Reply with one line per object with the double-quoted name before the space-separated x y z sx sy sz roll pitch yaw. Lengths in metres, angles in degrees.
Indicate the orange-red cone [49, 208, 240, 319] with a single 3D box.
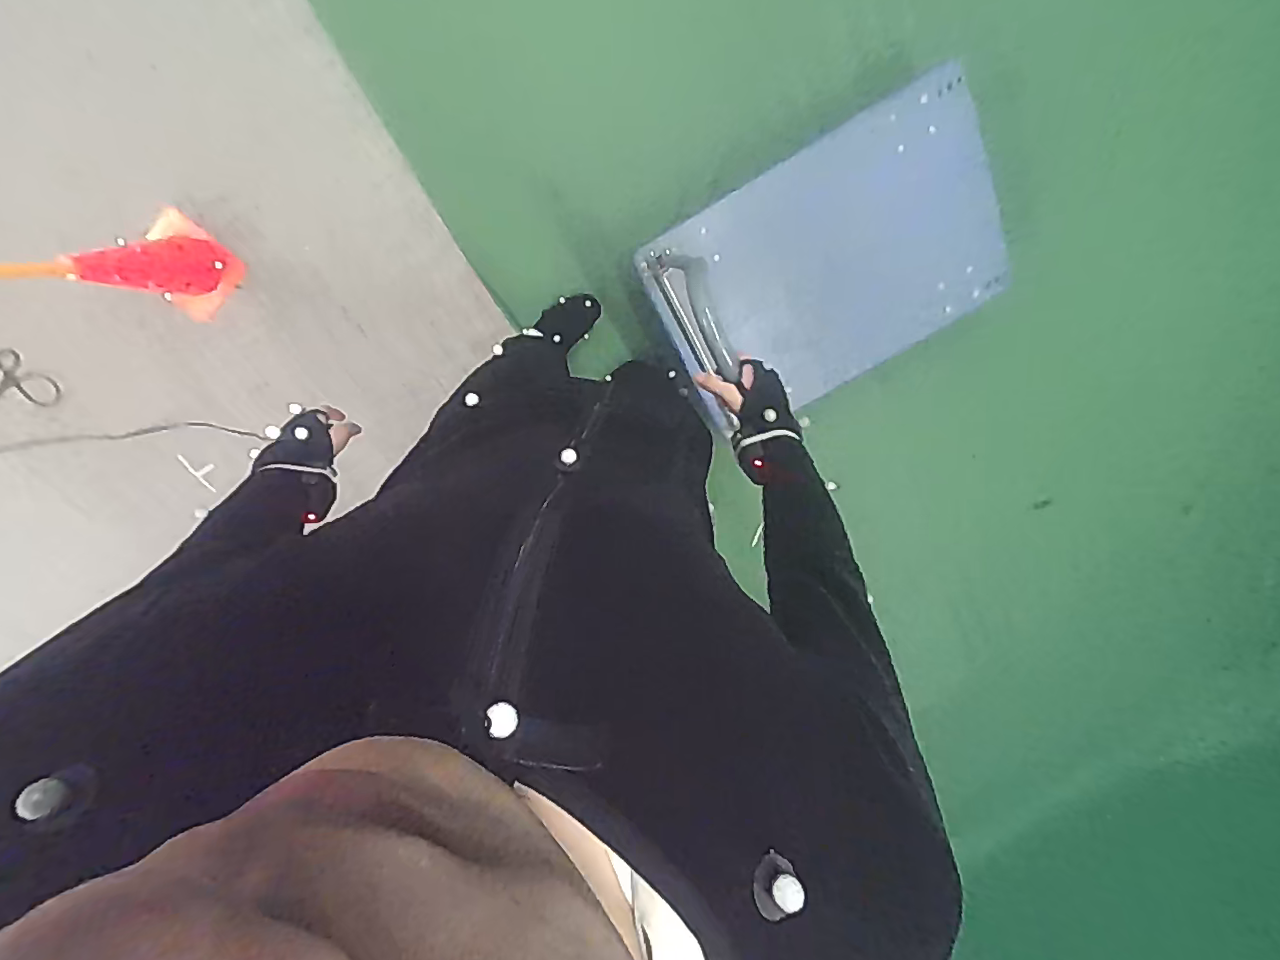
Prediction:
"orange-red cone" -1.100 -0.466 1.167 0.198 0.360 0.199 -42 110 9
